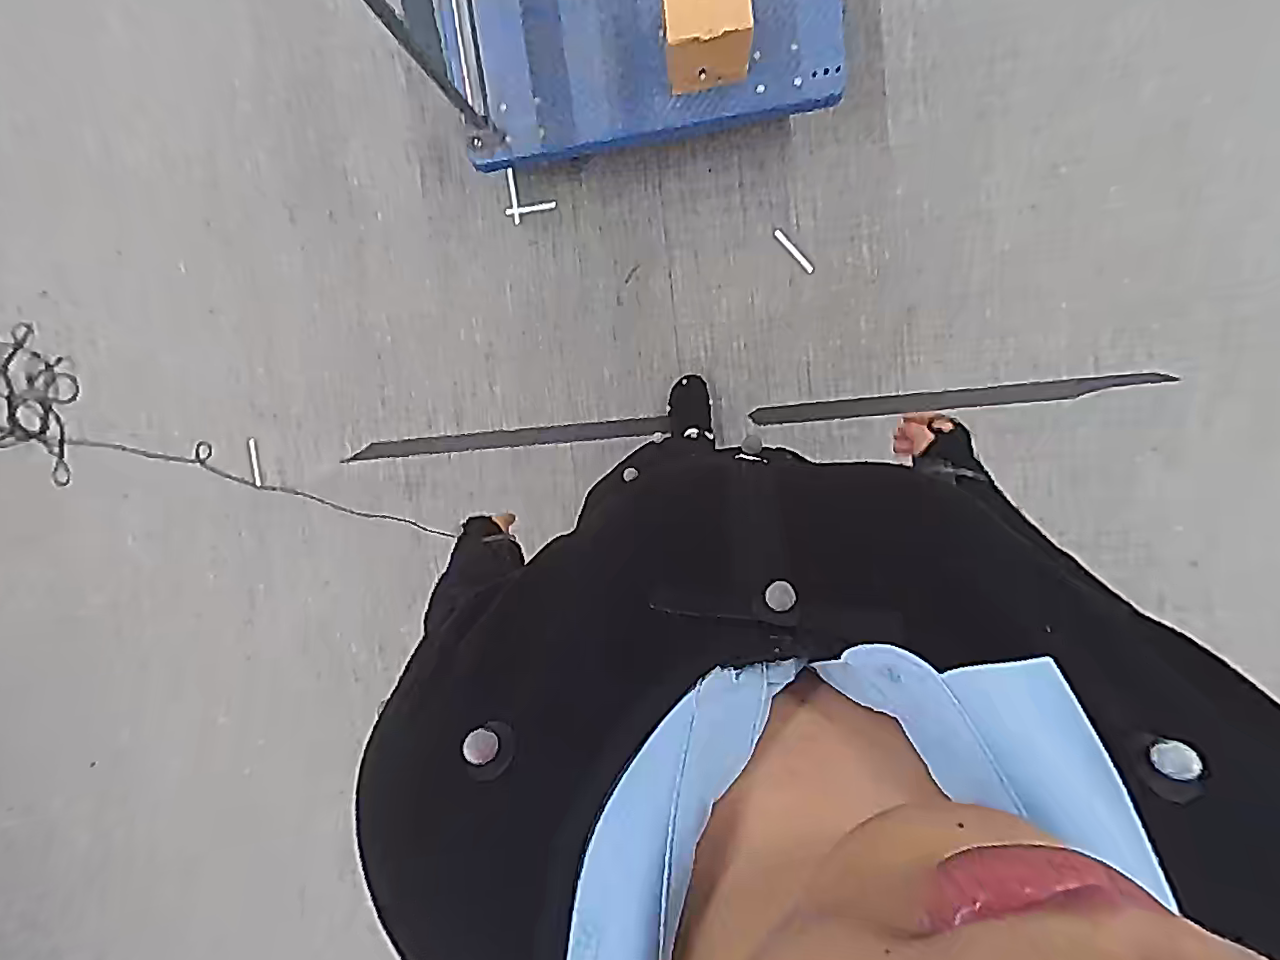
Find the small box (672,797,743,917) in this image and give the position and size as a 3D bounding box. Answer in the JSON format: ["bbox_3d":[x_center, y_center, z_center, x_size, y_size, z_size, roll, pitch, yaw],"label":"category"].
[{"bbox_3d":[0.164,0.930,1.343,0.168,0.176,0.179,-1,96,4],"label":"small box"}]

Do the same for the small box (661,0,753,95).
[{"bbox_3d":[0.131,-0.938,1.104,0.168,0.176,0.179,-7,96,6],"label":"small box"}]
